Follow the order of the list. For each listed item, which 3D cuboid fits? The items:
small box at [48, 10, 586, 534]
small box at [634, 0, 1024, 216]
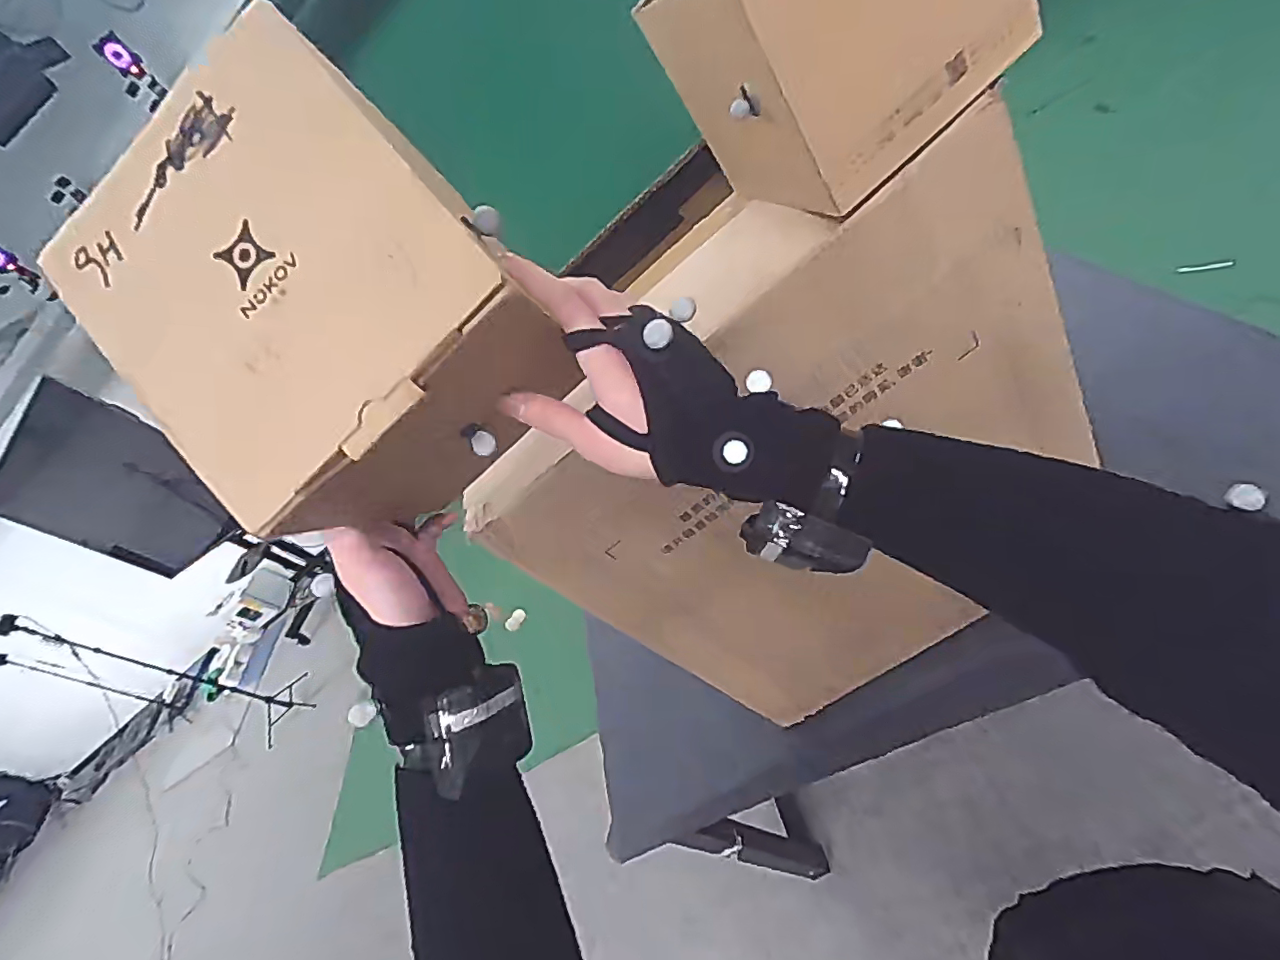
[{"bbox_3d":[-0.157,-0.094,0.321,0.168,0.179,0.176,-41,-5,8],"label":"small box"},{"bbox_3d":[0.128,-0.319,0.385,0.168,0.176,0.179,-40,35,8],"label":"small box"}]
